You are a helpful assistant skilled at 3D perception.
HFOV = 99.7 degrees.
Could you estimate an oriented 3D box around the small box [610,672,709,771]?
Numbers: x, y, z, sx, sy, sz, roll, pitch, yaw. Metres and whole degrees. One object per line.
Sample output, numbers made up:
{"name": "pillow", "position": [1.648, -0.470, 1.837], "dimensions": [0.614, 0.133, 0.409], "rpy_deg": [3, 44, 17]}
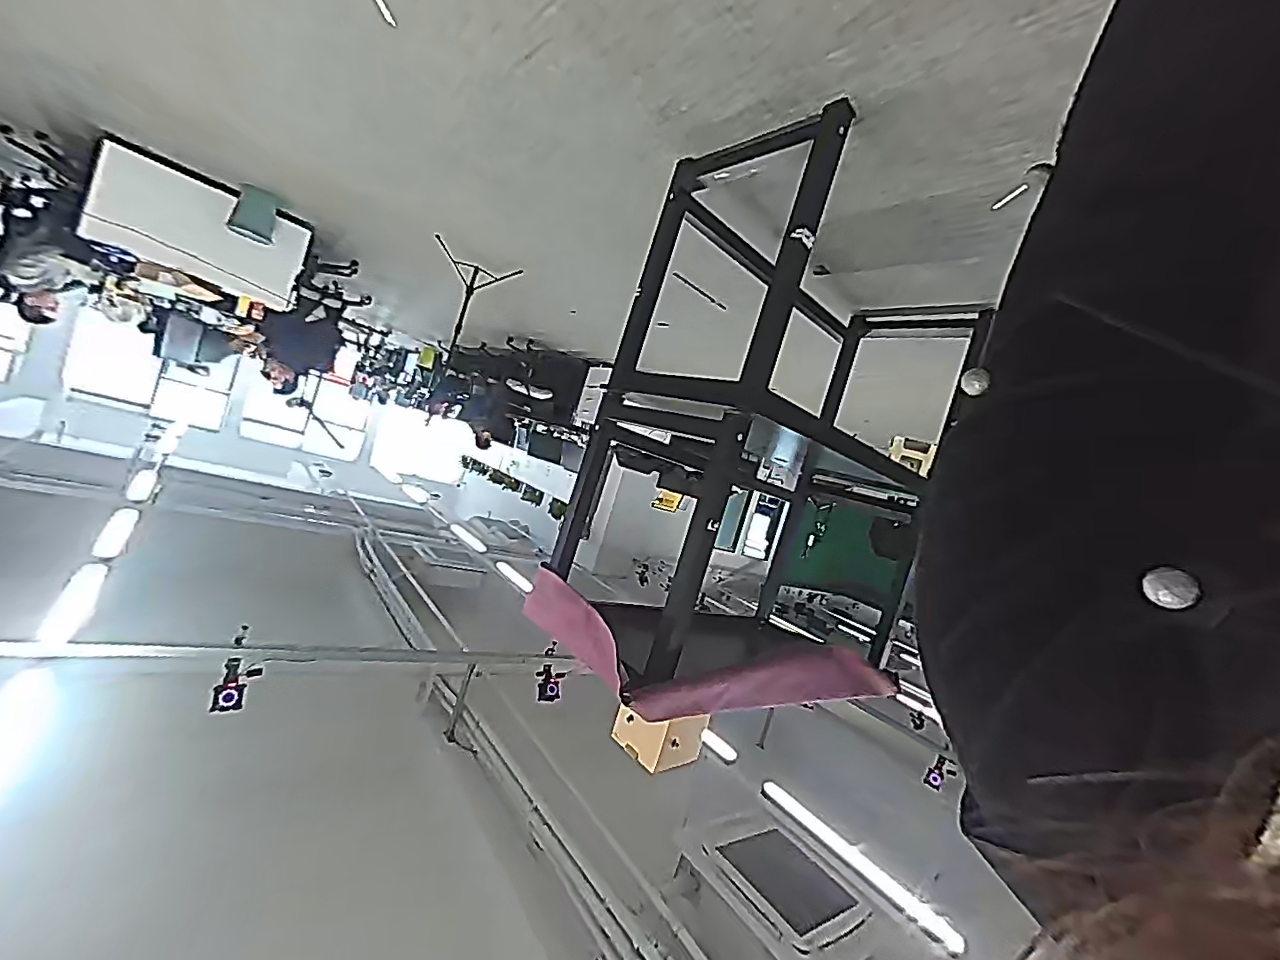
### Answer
{"name": "small box", "position": [0.053, 0.622, 1.418], "dimensions": [0.168, 0.176, 0.179], "rpy_deg": [20, -176, 44]}
